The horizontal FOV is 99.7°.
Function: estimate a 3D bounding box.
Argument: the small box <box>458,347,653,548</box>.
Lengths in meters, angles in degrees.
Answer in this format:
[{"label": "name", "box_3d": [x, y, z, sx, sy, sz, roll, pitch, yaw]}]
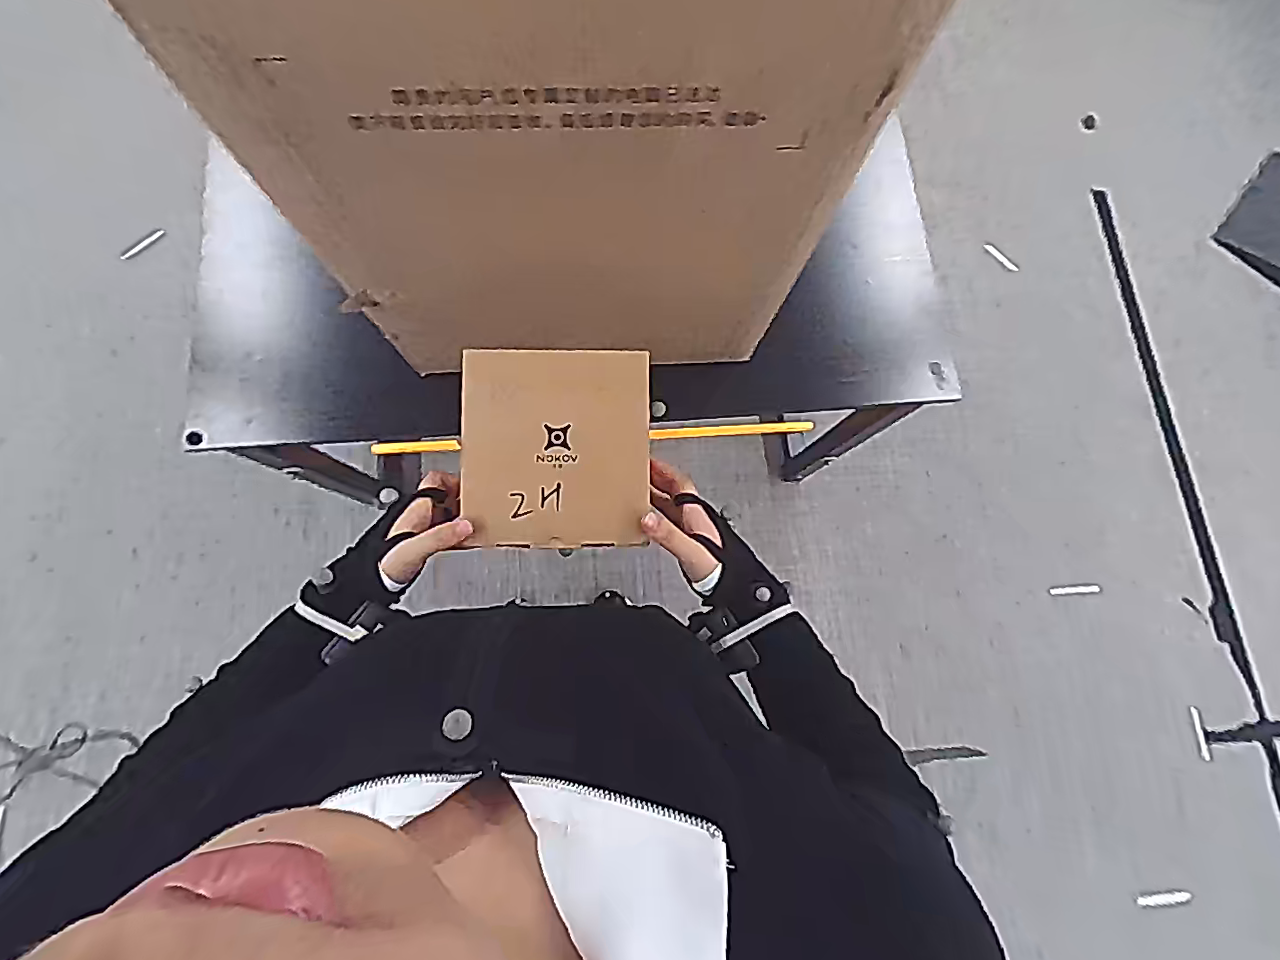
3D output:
[{"label": "small box", "box_3d": [-0.076, -0.021, 0.548, 0.168, 0.176, 0.179, 1, 85, -2]}]
